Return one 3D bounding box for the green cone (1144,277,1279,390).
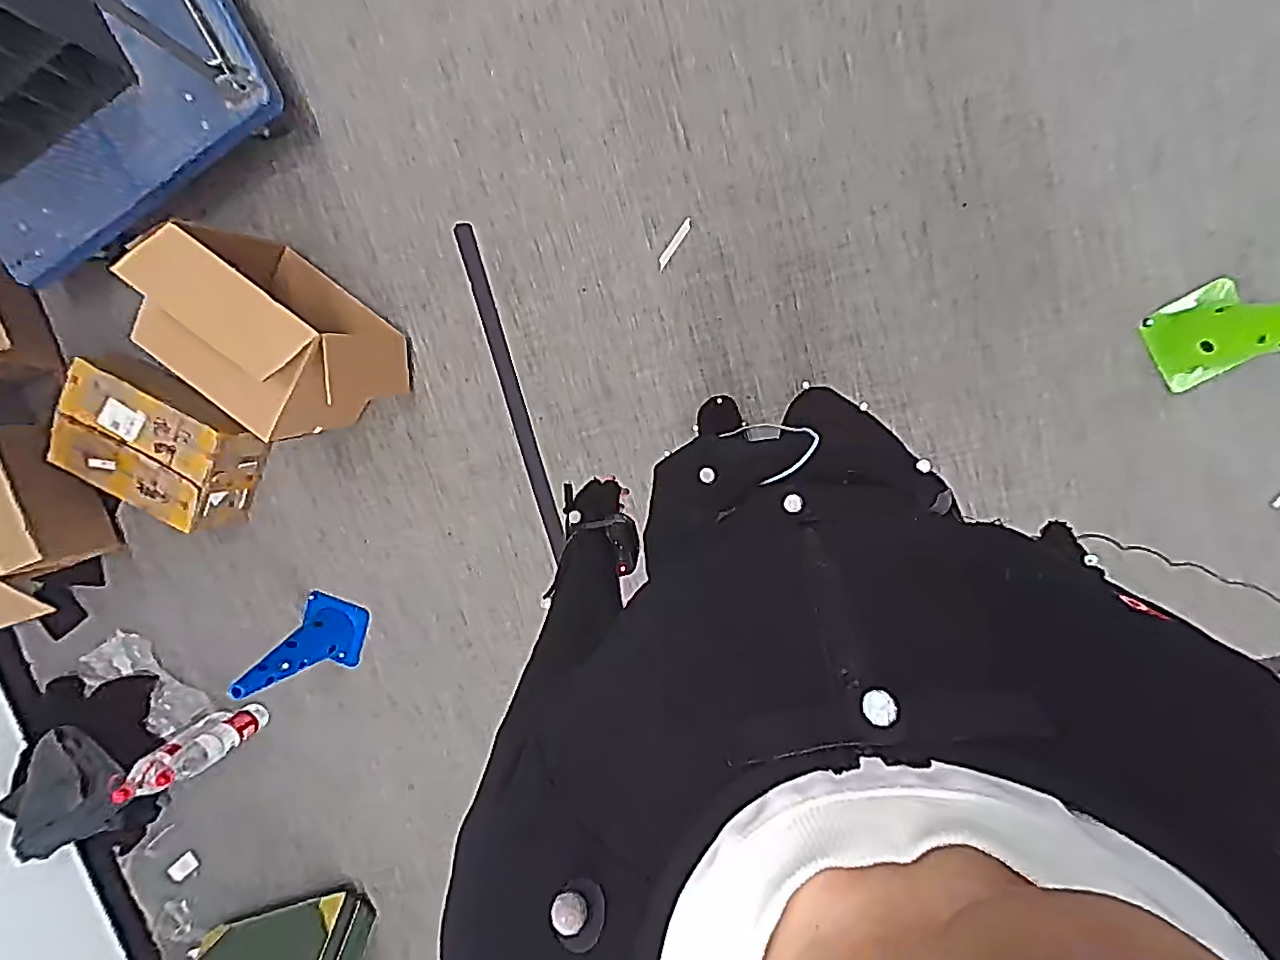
[{"bbox_3d":[1.273,-0.307,1.071,0.202,0.368,0.200,-31,95,10],"label":"green cone"}]
